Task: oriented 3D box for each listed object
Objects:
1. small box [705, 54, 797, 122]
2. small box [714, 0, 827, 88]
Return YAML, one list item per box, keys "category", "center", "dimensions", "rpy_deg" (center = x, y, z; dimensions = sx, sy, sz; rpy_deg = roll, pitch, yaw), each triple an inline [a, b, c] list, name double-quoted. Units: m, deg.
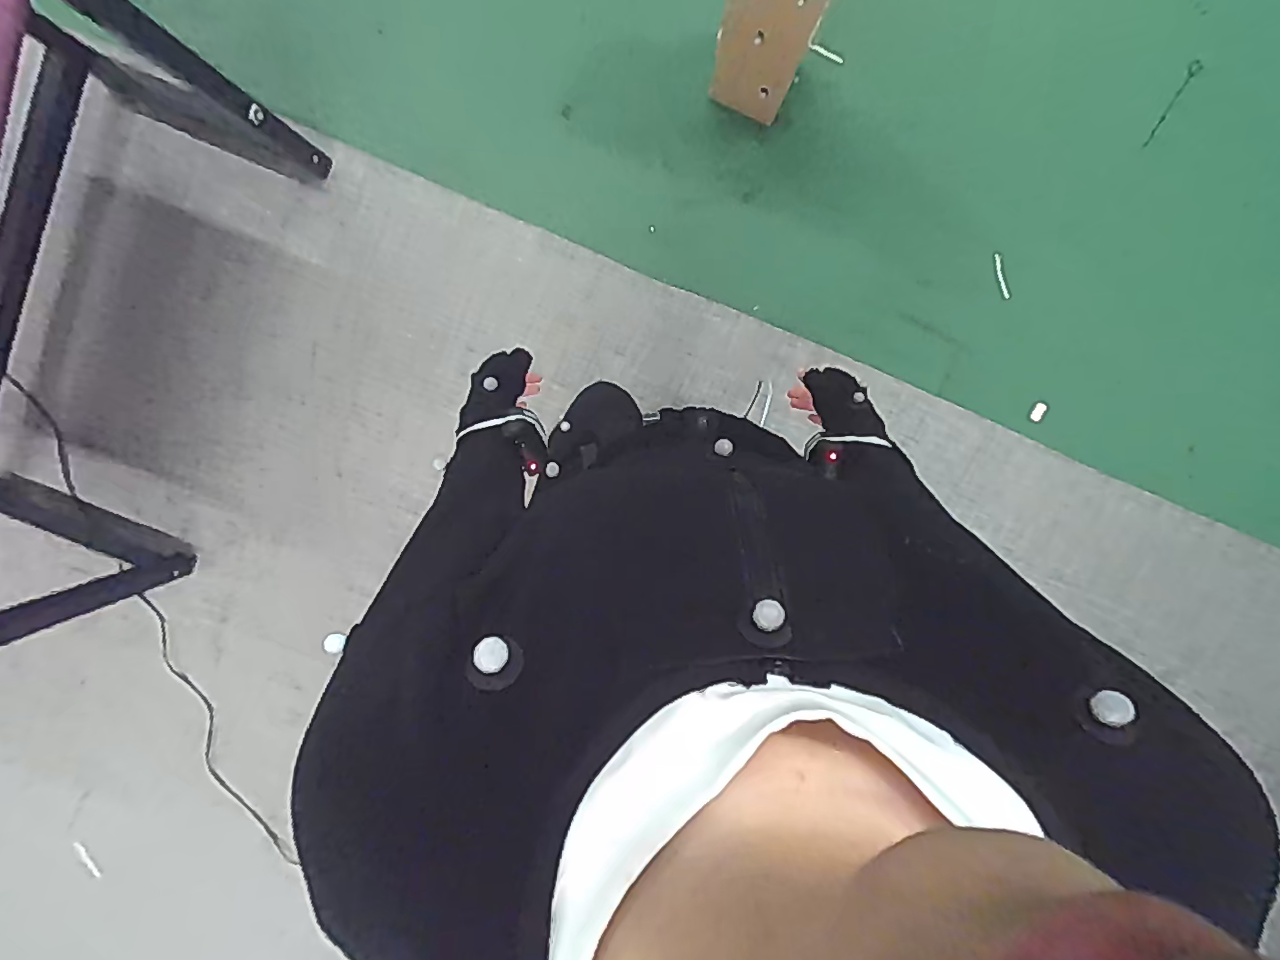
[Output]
- category: "small box"
  center: [0.269, -0.977, 1.257]
  dimensions: [0.179, 0.176, 0.168]
  rpy_deg: [24, 97, -4]
- category: "small box"
  center: [0.269, -0.947, 1.097]
  dimensions: [0.179, 0.176, 0.168]
  rpy_deg: [24, 97, -4]
